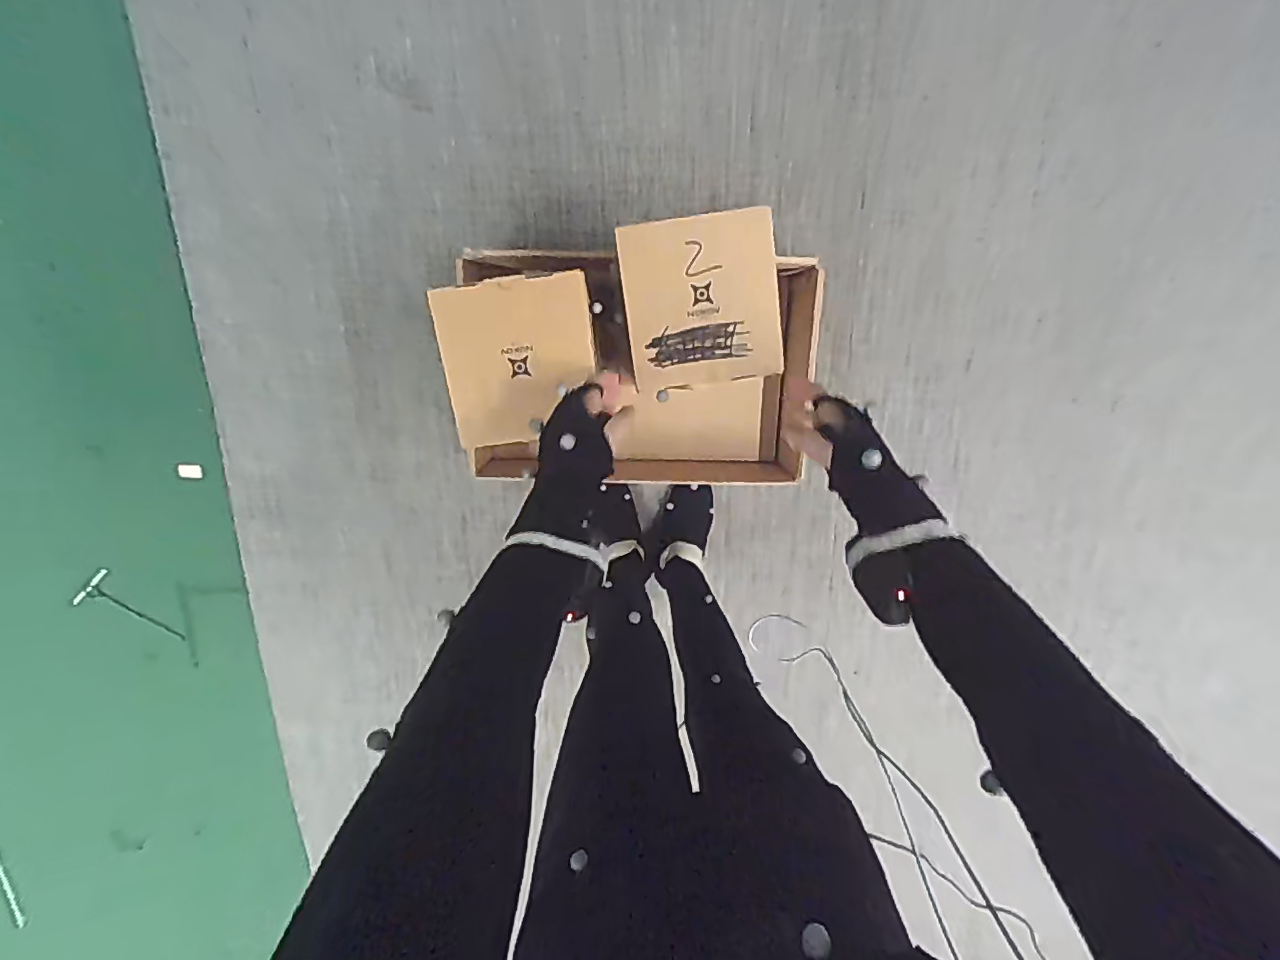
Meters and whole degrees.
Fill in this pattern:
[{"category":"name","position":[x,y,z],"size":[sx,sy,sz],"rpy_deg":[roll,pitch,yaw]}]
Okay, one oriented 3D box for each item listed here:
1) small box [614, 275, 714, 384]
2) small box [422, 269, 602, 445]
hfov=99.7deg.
[{"category":"small box","position":[0.039,-0.269,0.978],"size":[0.168,0.176,0.179],"rpy_deg":[1,106,1]},{"category":"small box","position":[-0.141,-0.154,0.668],"size":[0.168,0.176,0.179],"rpy_deg":[-7,106,1]}]
